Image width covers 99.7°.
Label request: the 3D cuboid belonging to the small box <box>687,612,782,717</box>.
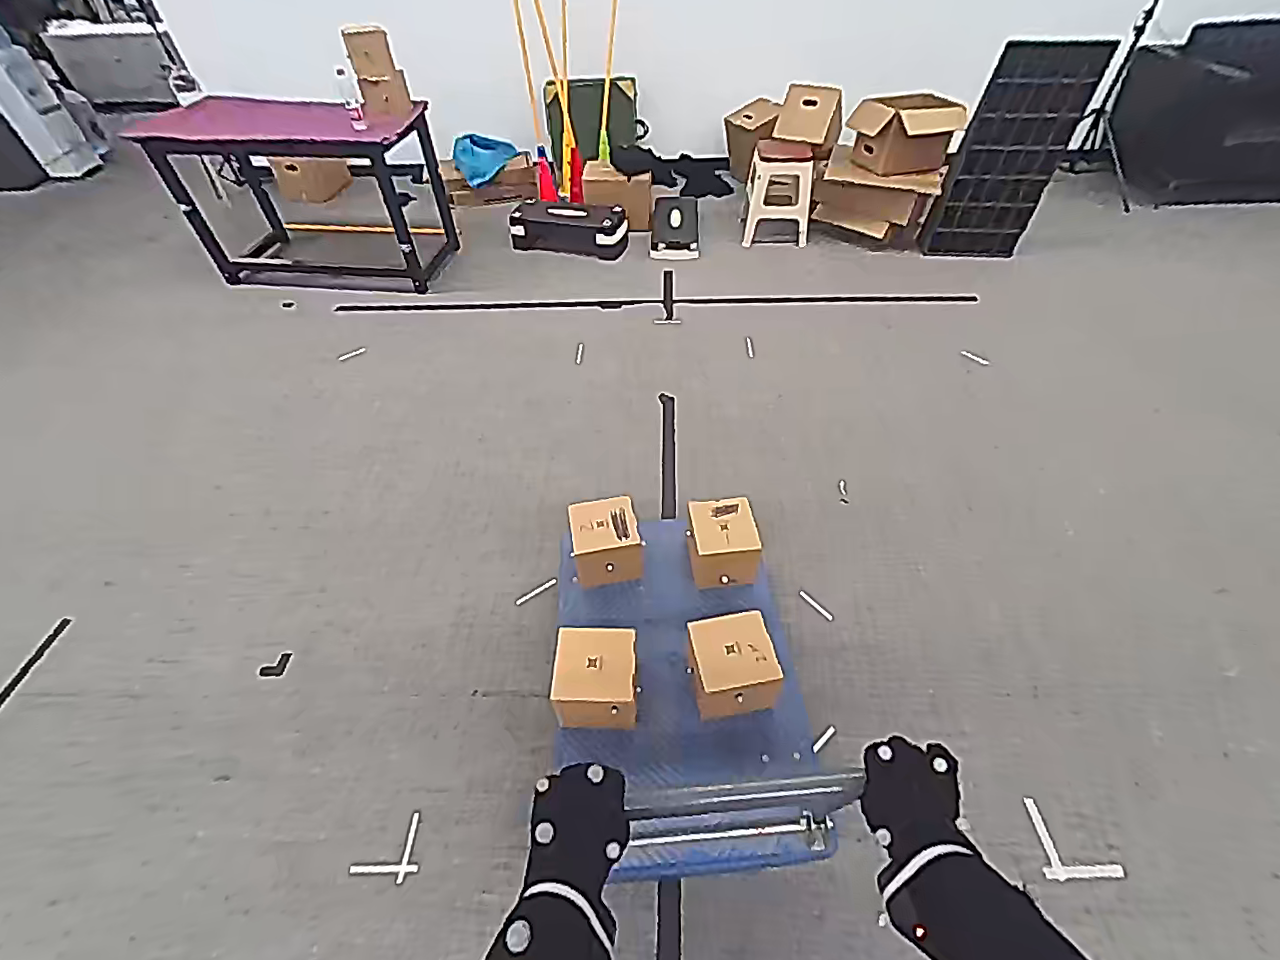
[{"bbox_3d":[0.210,0.431,1.255,0.179,0.176,0.168,-9,48,-5],"label":"small box"}]

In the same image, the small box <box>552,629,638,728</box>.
[{"bbox_3d":[-0.096,0.458,1.243,0.179,0.176,0.168,1,47,1],"label":"small box"}]

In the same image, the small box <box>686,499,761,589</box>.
[{"bbox_3d":[0.222,0.176,1.488,0.168,0.176,0.179,-5,48,-3],"label":"small box"}]
